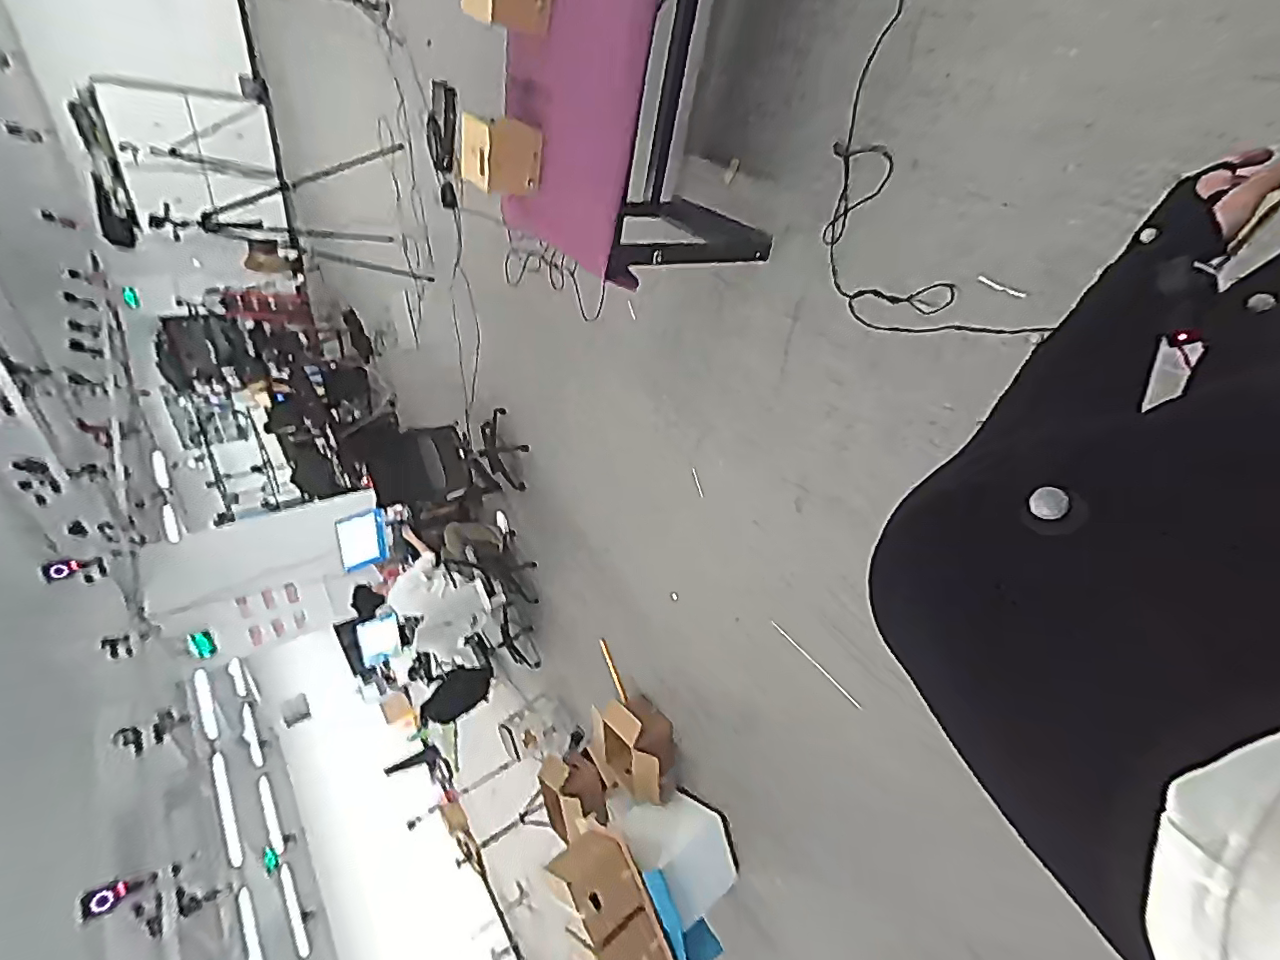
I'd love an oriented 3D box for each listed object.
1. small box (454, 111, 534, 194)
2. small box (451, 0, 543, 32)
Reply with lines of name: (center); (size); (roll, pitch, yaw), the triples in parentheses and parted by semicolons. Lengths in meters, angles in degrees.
small box: (-0.422, -0.946, 1.567); (0.179, 0.176, 0.168); (44, 136, 31)
small box: (-0.354, -1.241, 1.341); (0.179, 0.176, 0.168); (45, 138, 29)
